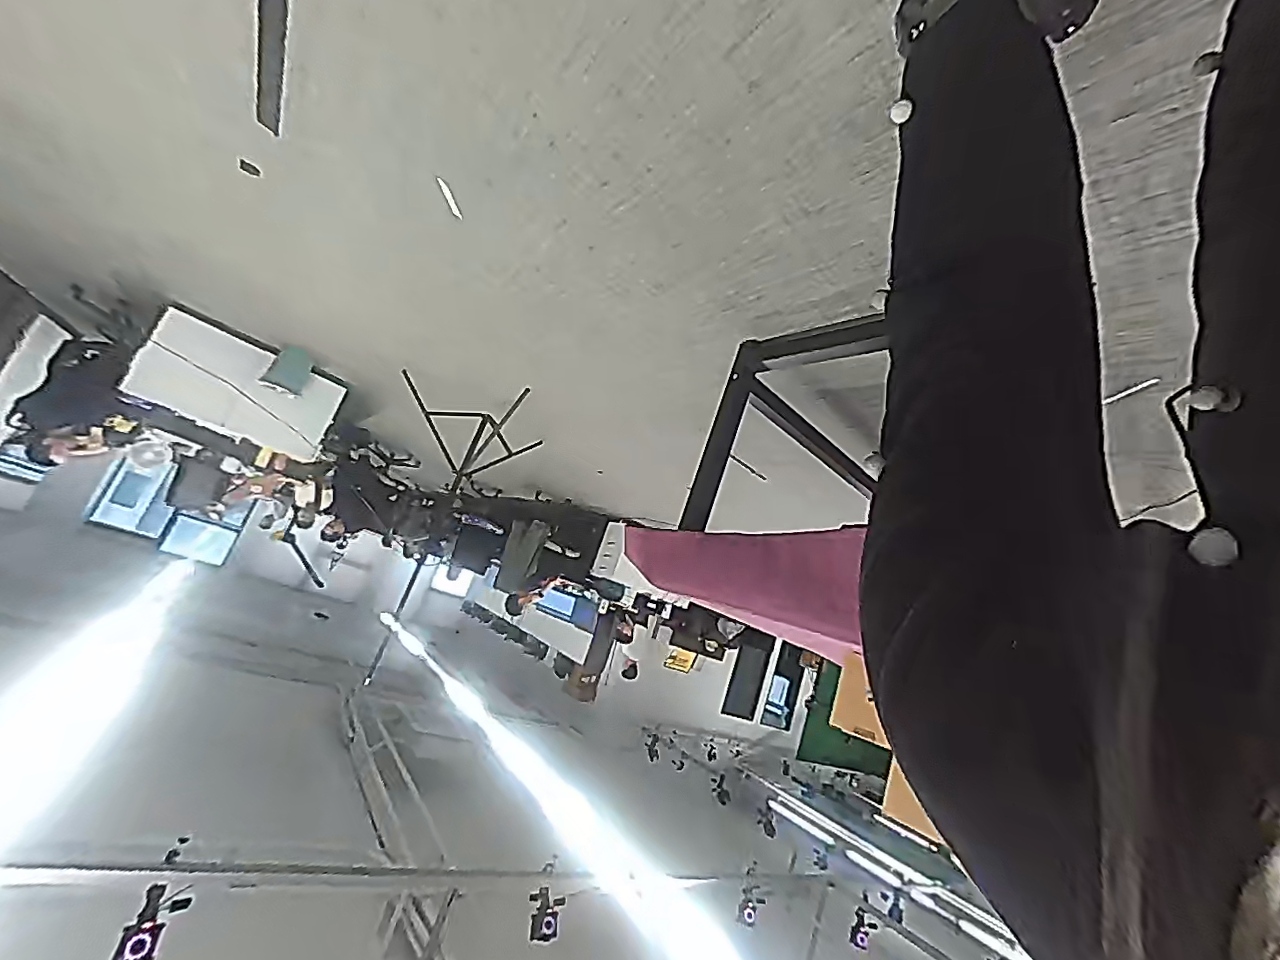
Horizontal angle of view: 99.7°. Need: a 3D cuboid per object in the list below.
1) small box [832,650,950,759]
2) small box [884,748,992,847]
[{"bbox_3d":[0.556,0.487,1.192,0.179,0.176,0.168,29,164,-35],"label":"small box"},{"bbox_3d":[0.725,0.753,1.308,0.179,0.176,0.168,29,164,-34],"label":"small box"}]
